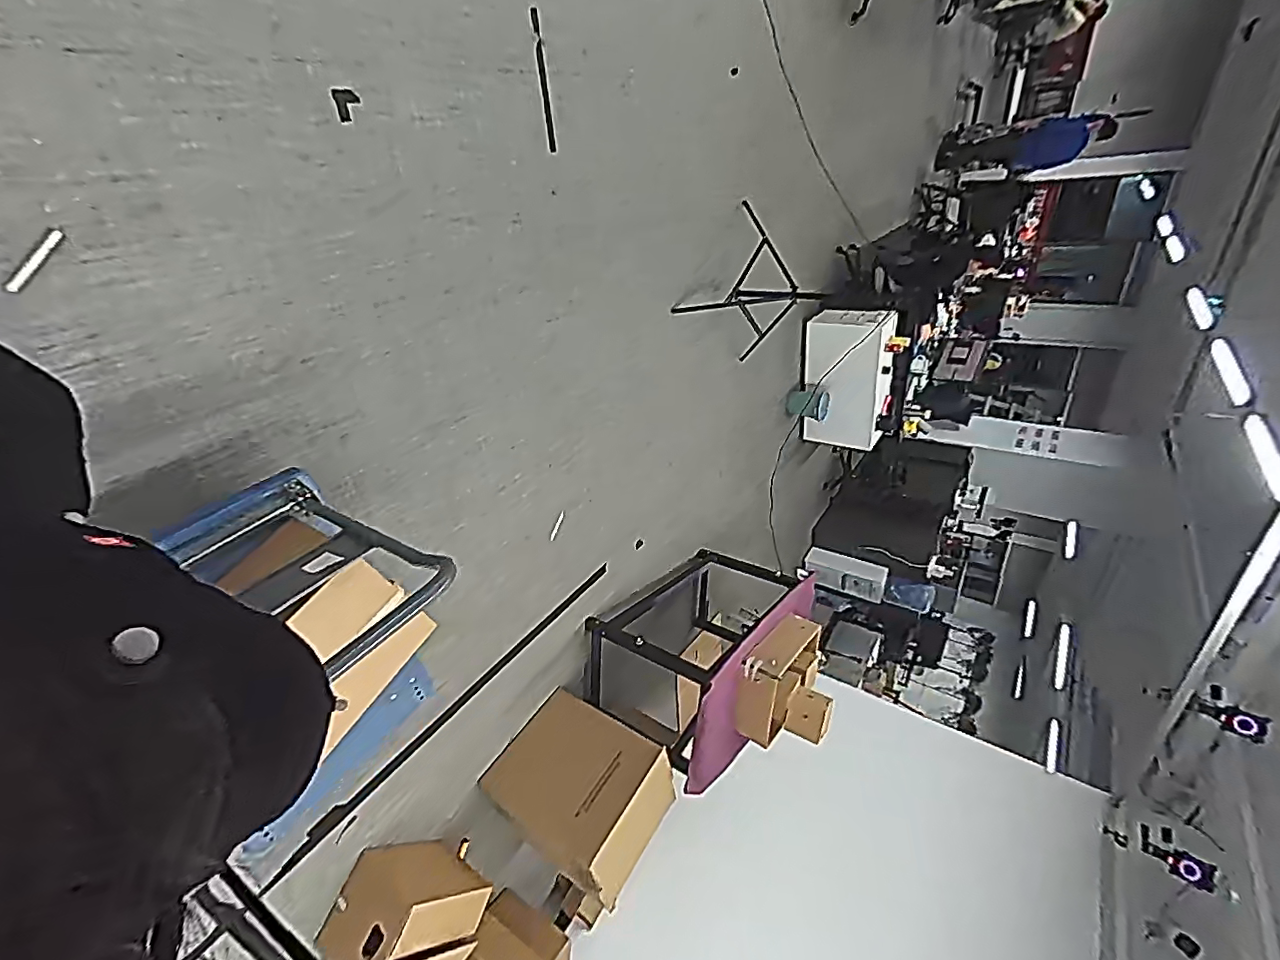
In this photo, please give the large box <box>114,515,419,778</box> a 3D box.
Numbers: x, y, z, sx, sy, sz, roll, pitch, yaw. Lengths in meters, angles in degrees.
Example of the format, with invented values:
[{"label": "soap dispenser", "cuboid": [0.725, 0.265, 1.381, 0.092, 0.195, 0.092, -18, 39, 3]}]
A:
[{"label": "large box", "cuboid": [-0.798, 0.350, 1.200, 0.408, 0.320, 0.320, -53, 140, -29]}]
